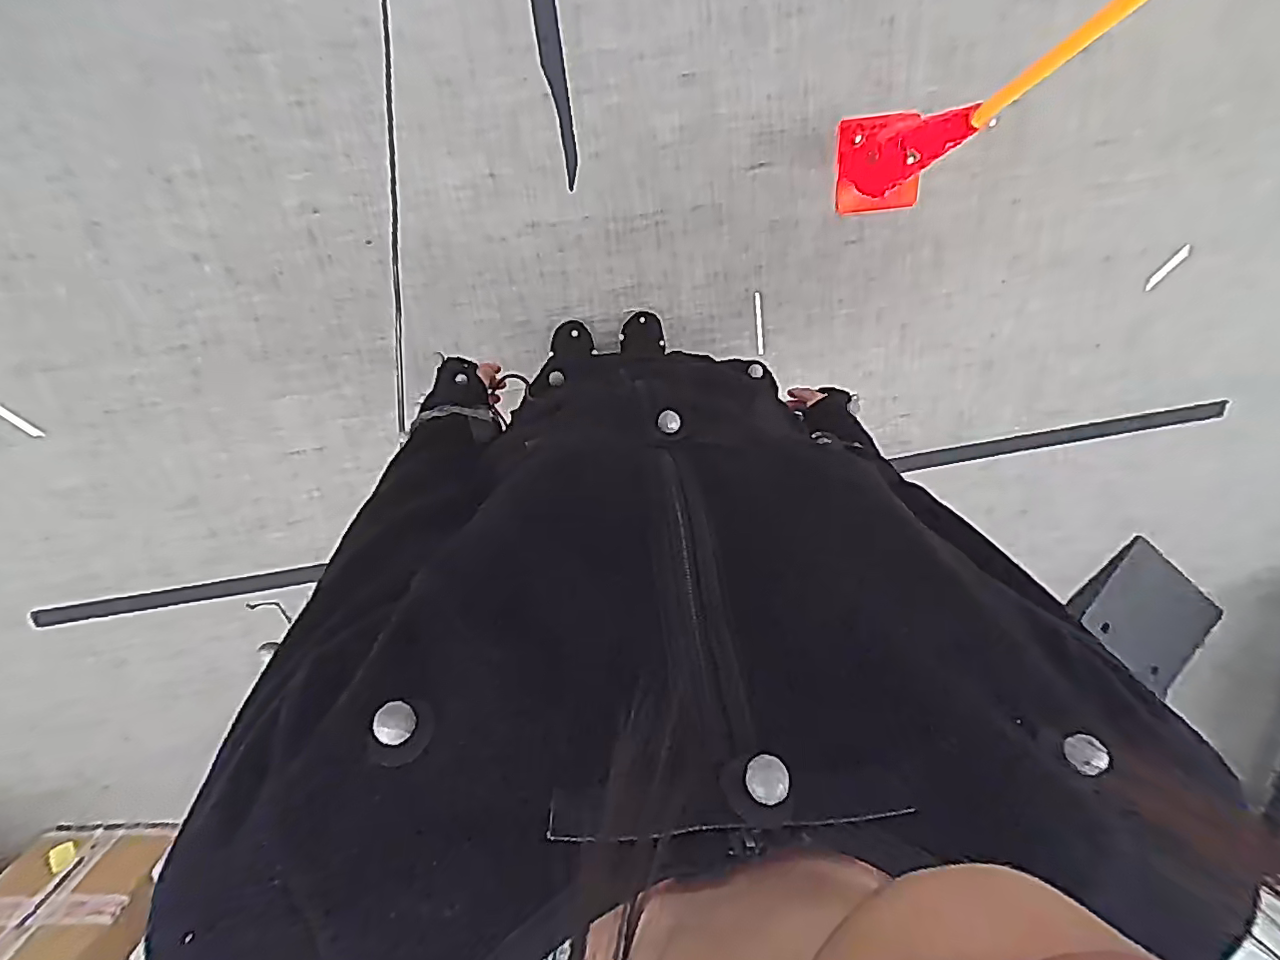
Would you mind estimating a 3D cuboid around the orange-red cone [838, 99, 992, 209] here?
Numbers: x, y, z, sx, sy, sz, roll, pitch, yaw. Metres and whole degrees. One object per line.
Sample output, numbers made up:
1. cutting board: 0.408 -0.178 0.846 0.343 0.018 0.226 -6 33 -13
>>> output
1. orange-red cone: 0.571 -0.683 1.087 0.198 0.360 0.199 -6 109 -3
